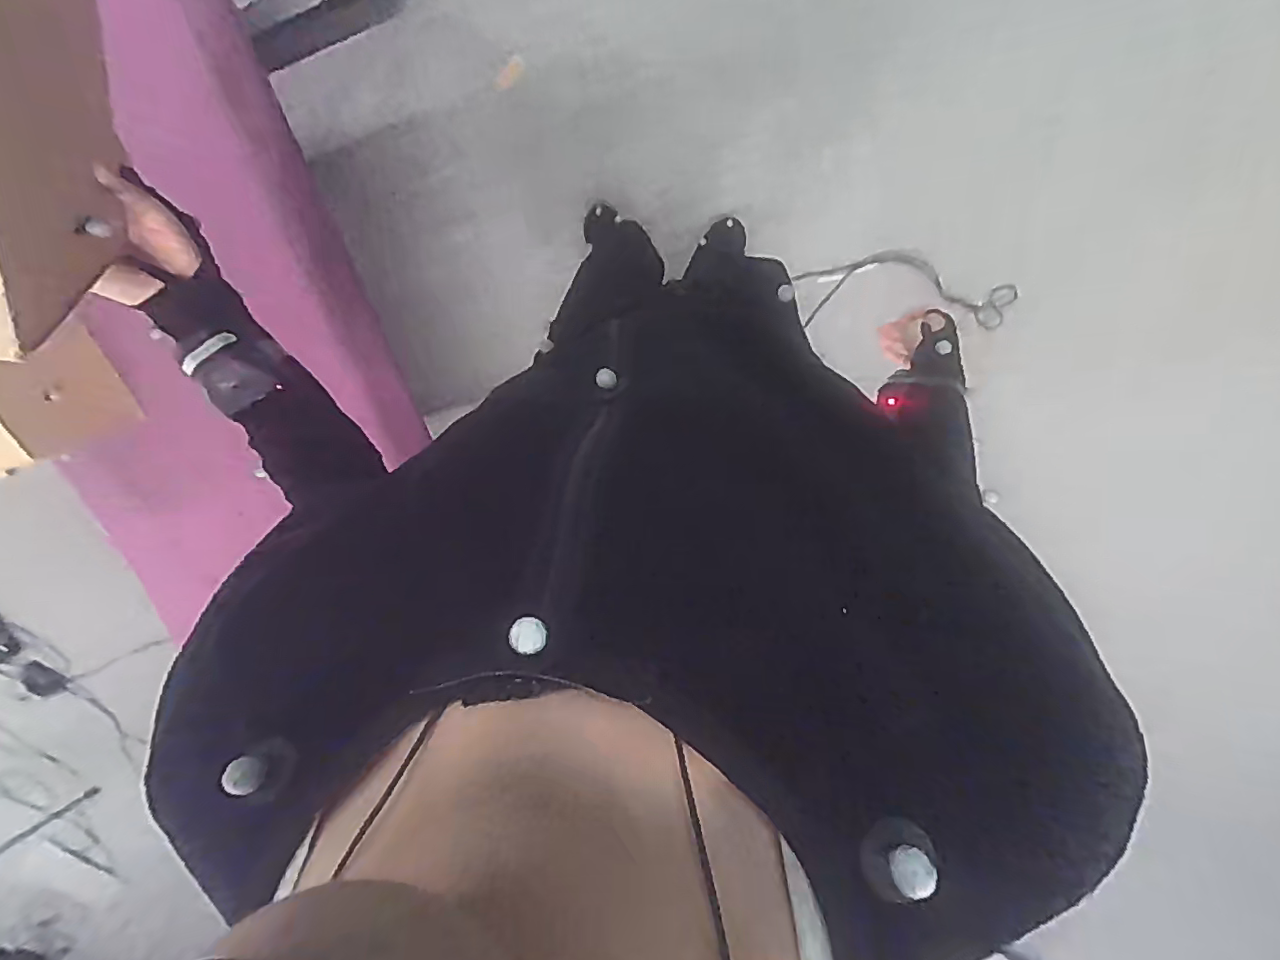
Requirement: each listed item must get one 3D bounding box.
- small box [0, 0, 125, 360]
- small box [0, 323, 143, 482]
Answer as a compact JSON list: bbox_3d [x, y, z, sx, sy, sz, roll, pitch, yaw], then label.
[{"bbox_3d":[-0.383,-0.189,0.257,0.168,0.179,0.176,7,129,-31],"label":"small box"},{"bbox_3d":[-0.874,-0.109,0.758,0.168,0.176,0.179,-12,115,11],"label":"small box"}]
